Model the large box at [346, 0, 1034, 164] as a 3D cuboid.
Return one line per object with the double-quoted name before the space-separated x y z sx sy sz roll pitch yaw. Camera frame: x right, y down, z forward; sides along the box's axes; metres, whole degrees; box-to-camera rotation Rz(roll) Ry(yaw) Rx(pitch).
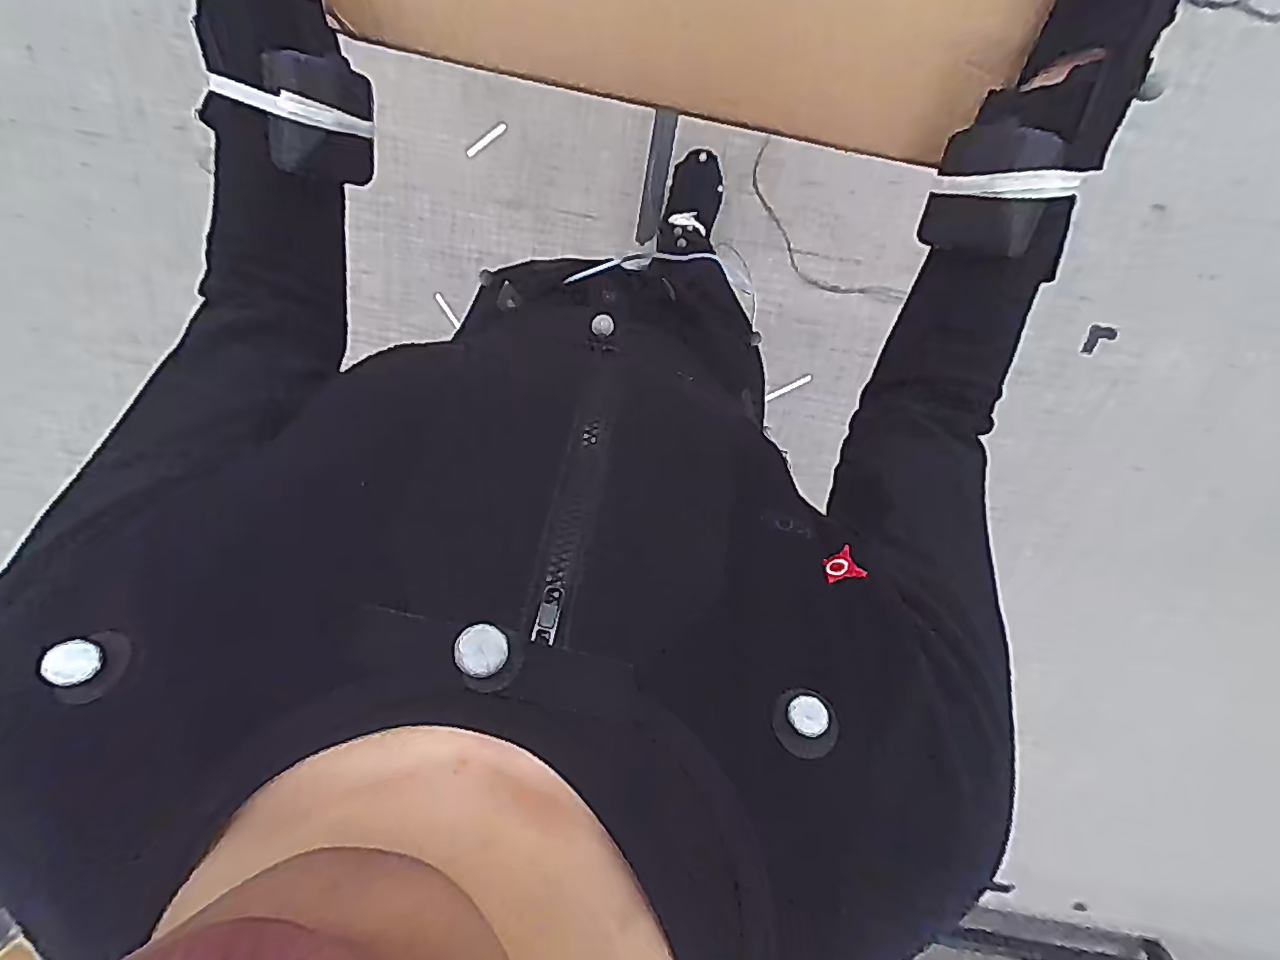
"large box" 0.048 -0.445 0.378 0.408 0.320 0.320 10 126 -3
